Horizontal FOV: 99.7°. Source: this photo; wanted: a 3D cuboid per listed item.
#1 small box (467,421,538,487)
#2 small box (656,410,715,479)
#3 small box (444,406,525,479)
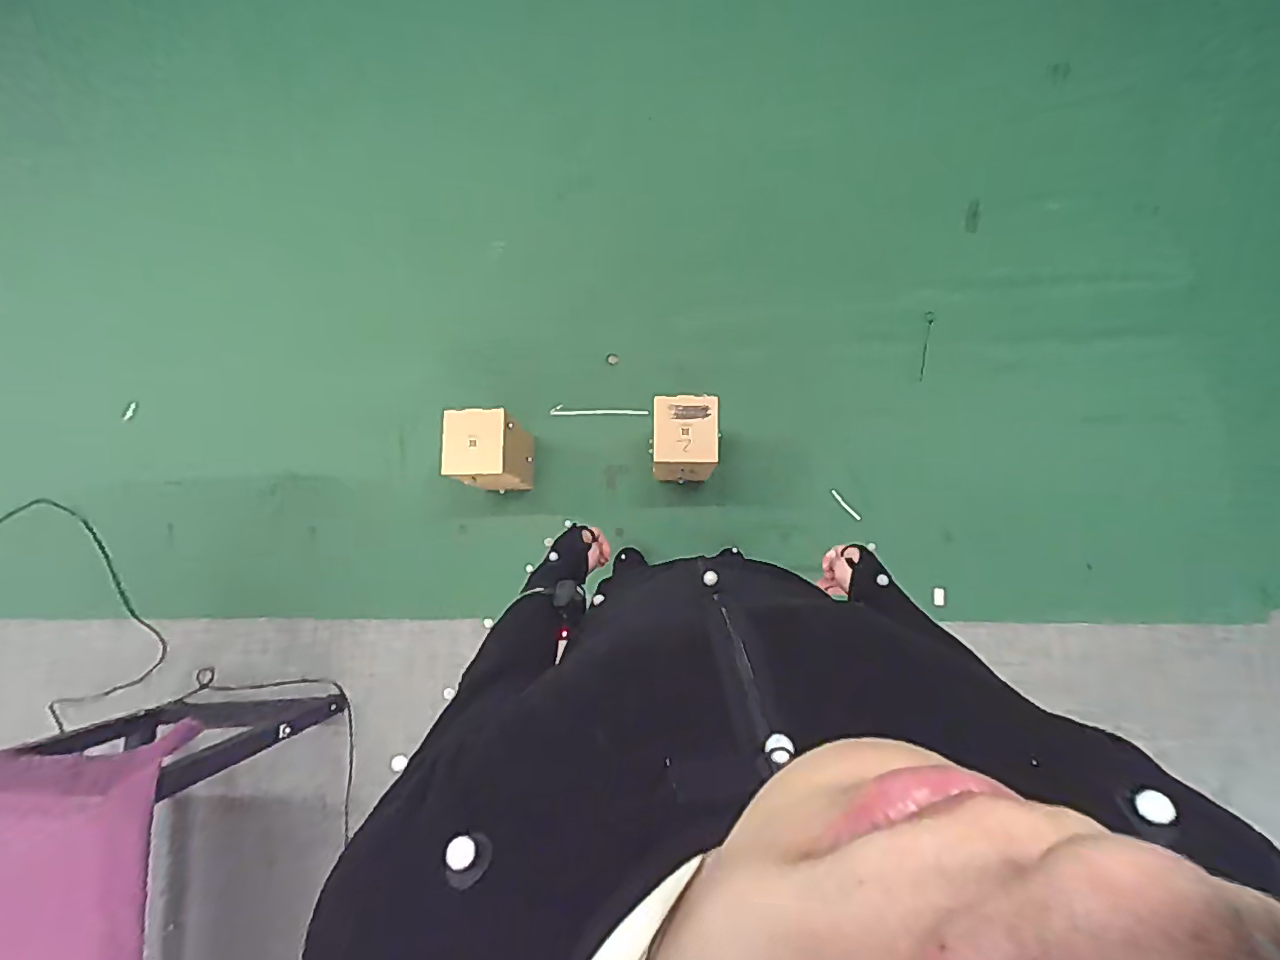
[{"bbox_3d":[-0.413,-0.075,1.646,0.168,0.176,0.179,-1,83,4],"label":"small box"},{"bbox_3d":[0.134,-0.103,1.612,0.168,0.176,0.179,1,83,4],"label":"small box"},{"bbox_3d":[-0.421,-0.097,1.486,0.168,0.176,0.179,-1,81,5],"label":"small box"}]
